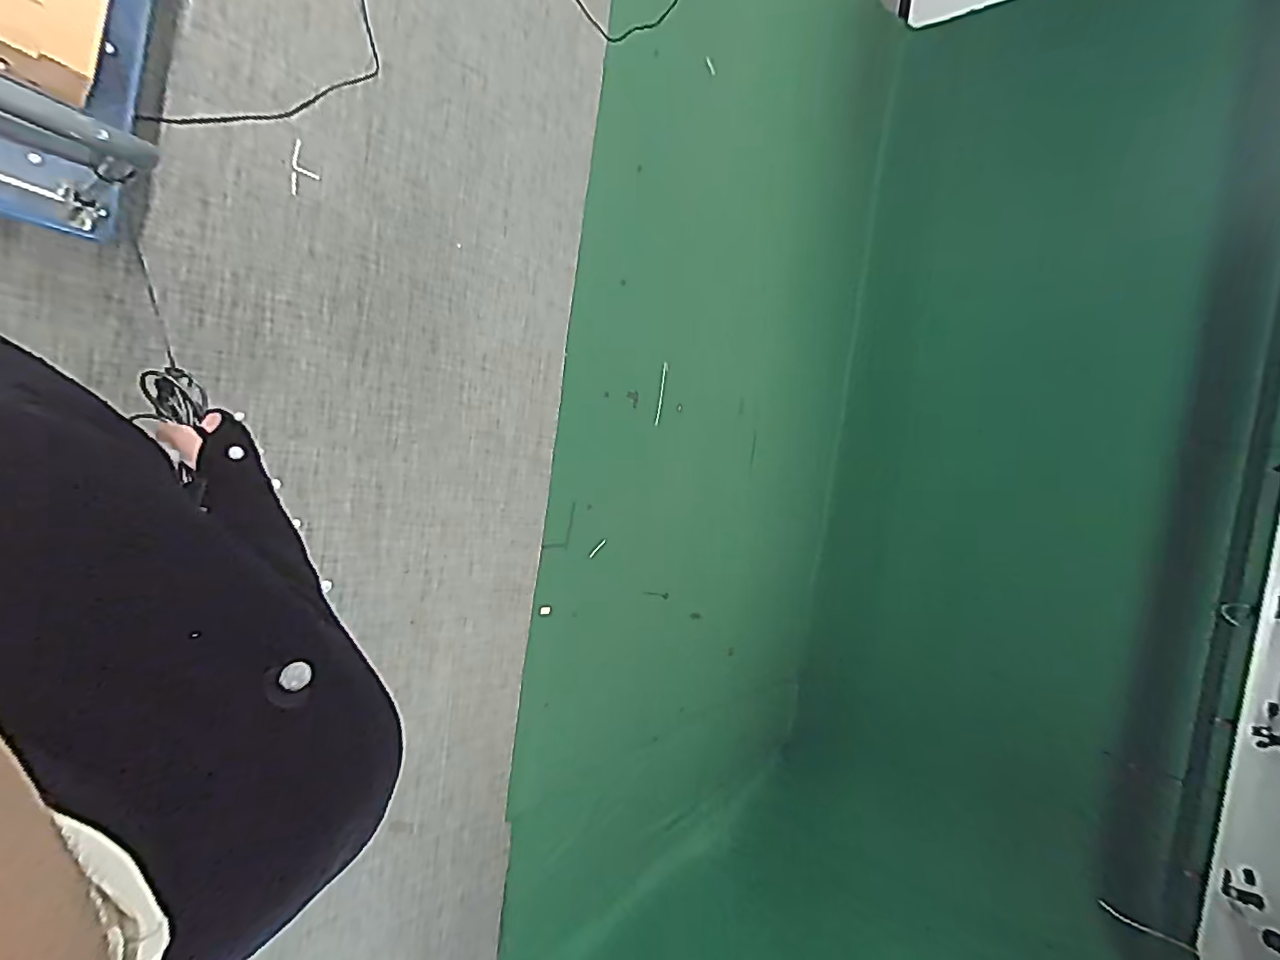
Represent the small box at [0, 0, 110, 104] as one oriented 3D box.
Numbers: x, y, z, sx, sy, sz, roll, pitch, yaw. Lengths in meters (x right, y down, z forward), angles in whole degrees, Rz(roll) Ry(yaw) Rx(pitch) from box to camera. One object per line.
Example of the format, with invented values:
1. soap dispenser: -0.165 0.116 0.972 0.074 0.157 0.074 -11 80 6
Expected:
1. small box: -0.990 -0.756 0.867 0.168 0.176 0.179 11 91 -52
